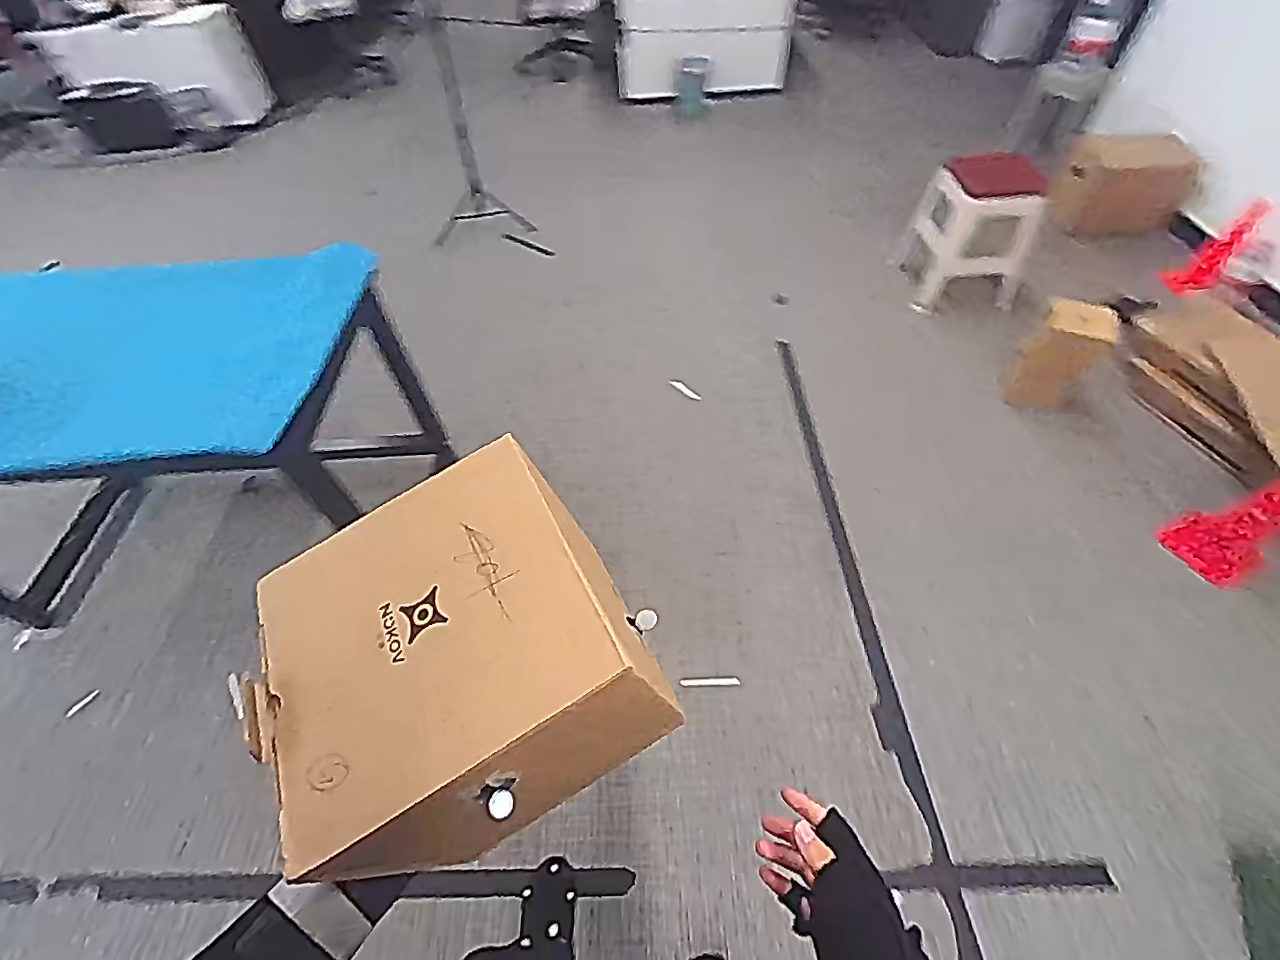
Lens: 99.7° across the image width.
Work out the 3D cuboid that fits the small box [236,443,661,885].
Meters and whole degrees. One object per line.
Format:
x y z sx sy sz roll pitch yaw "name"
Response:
-0.110 0.117 0.348 0.179 0.176 0.168 -32 57 -4 "small box"
